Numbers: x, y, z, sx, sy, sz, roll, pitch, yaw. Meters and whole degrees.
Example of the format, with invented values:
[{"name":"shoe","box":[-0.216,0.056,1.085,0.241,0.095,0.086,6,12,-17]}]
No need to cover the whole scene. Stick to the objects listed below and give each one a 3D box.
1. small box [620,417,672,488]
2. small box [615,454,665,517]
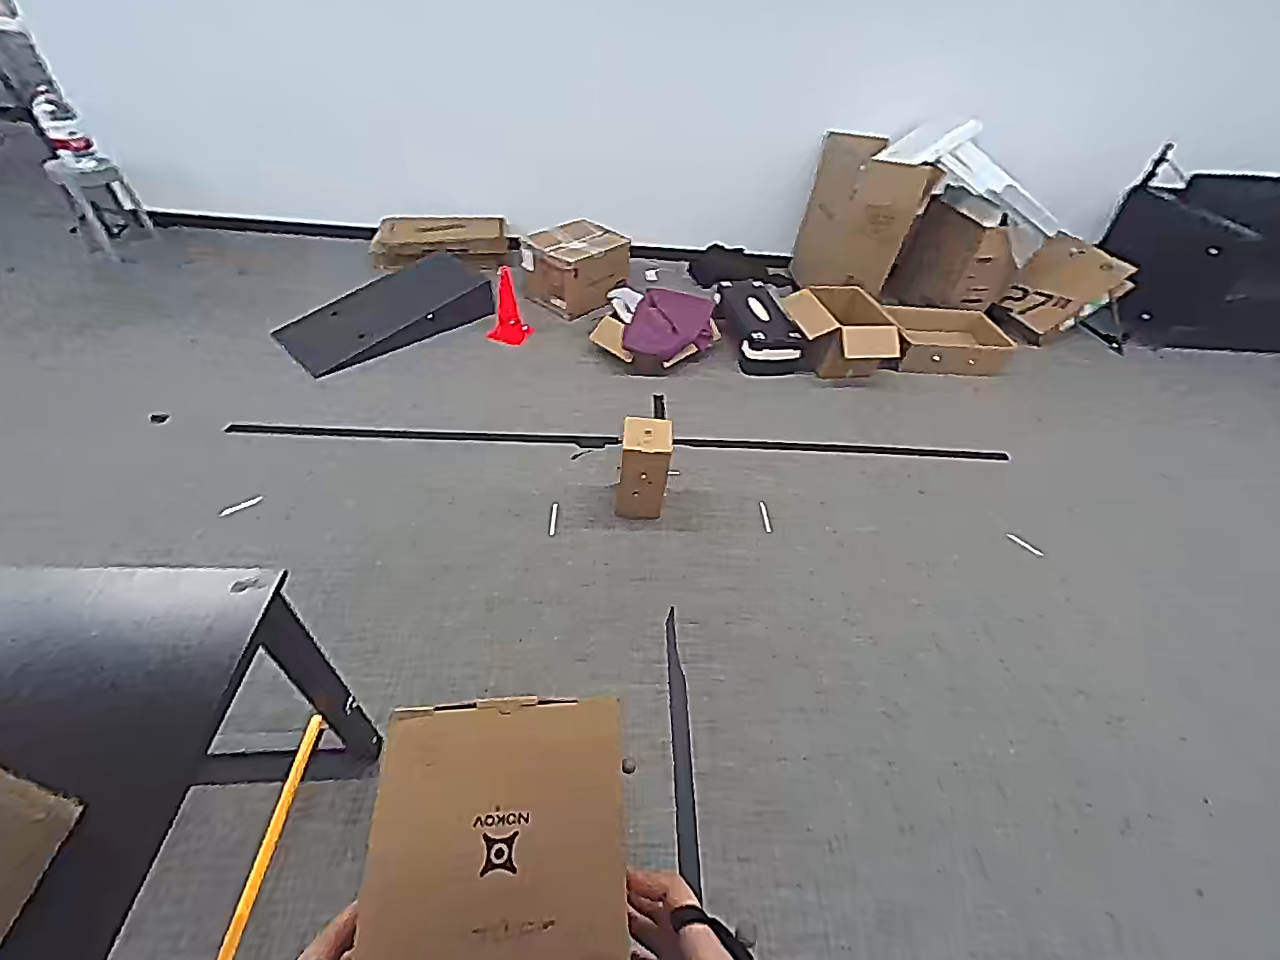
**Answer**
[{"name":"small box","box":[0.019,-0.096,1.901,0.168,0.176,0.179,4,45,-2]},{"name":"small box","box":[-0.002,0.024,2.013,0.179,0.176,0.168,5,45,-3]}]
